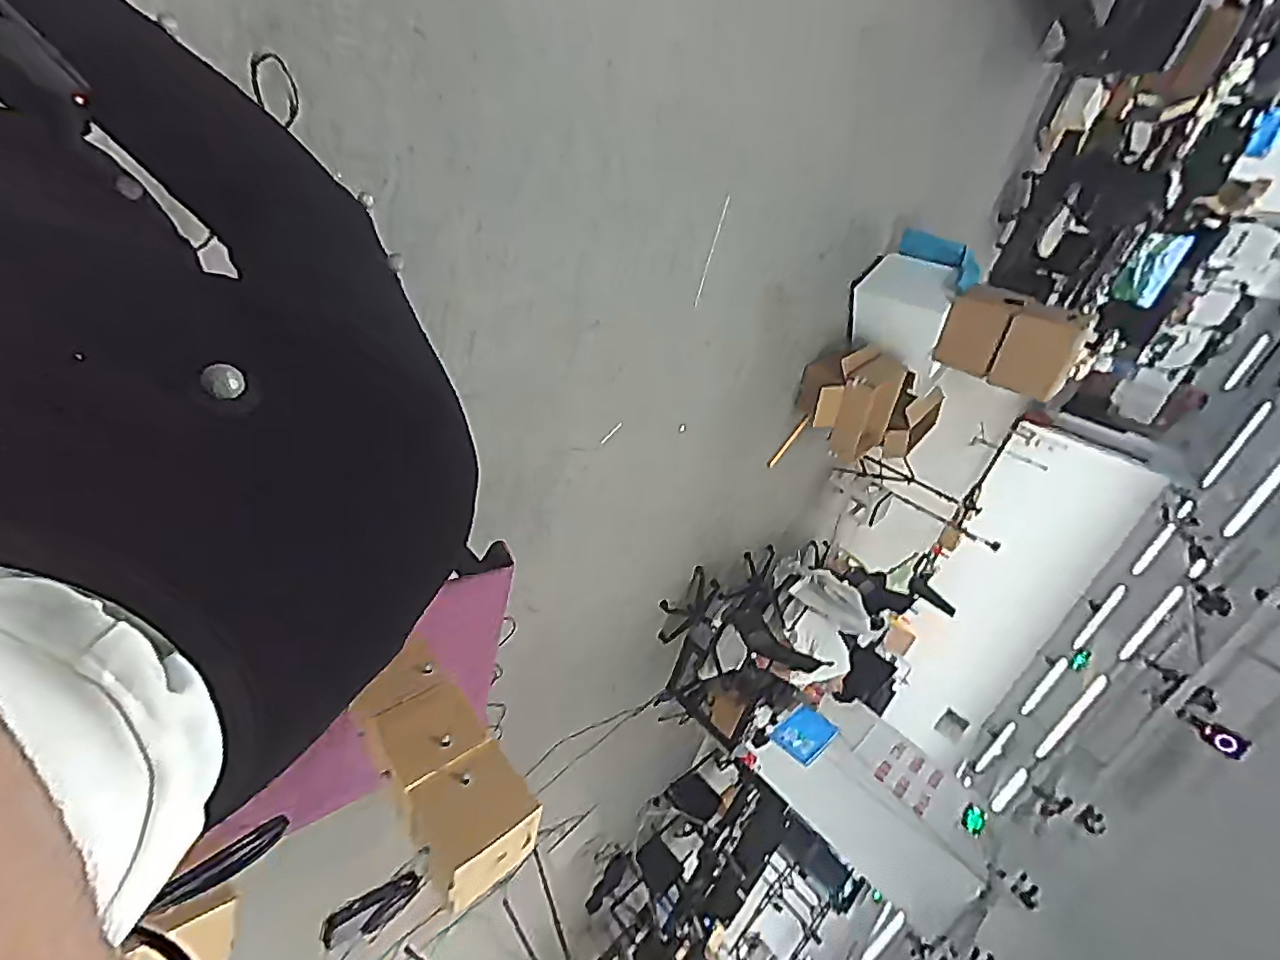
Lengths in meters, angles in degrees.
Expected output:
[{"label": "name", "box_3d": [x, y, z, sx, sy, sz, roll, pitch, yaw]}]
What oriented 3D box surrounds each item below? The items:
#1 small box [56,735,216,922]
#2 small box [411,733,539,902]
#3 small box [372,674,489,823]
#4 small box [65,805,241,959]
[{"label": "small box", "box_3d": [-0.857, 0.573, 0.919, 0.179, 0.176, 0.168, -1, 119, -49]}, {"label": "small box", "box_3d": [-0.320, 0.631, 1.030, 0.179, 0.176, 0.168, -17, 133, -42]}, {"label": "small box", "box_3d": [-0.433, 0.539, 1.107, 0.179, 0.176, 0.168, -18, 133, -42]}, {"label": "small box", "box_3d": [-0.745, 0.649, 0.827, 0.179, 0.176, 0.168, -3, 120, -49]}]
